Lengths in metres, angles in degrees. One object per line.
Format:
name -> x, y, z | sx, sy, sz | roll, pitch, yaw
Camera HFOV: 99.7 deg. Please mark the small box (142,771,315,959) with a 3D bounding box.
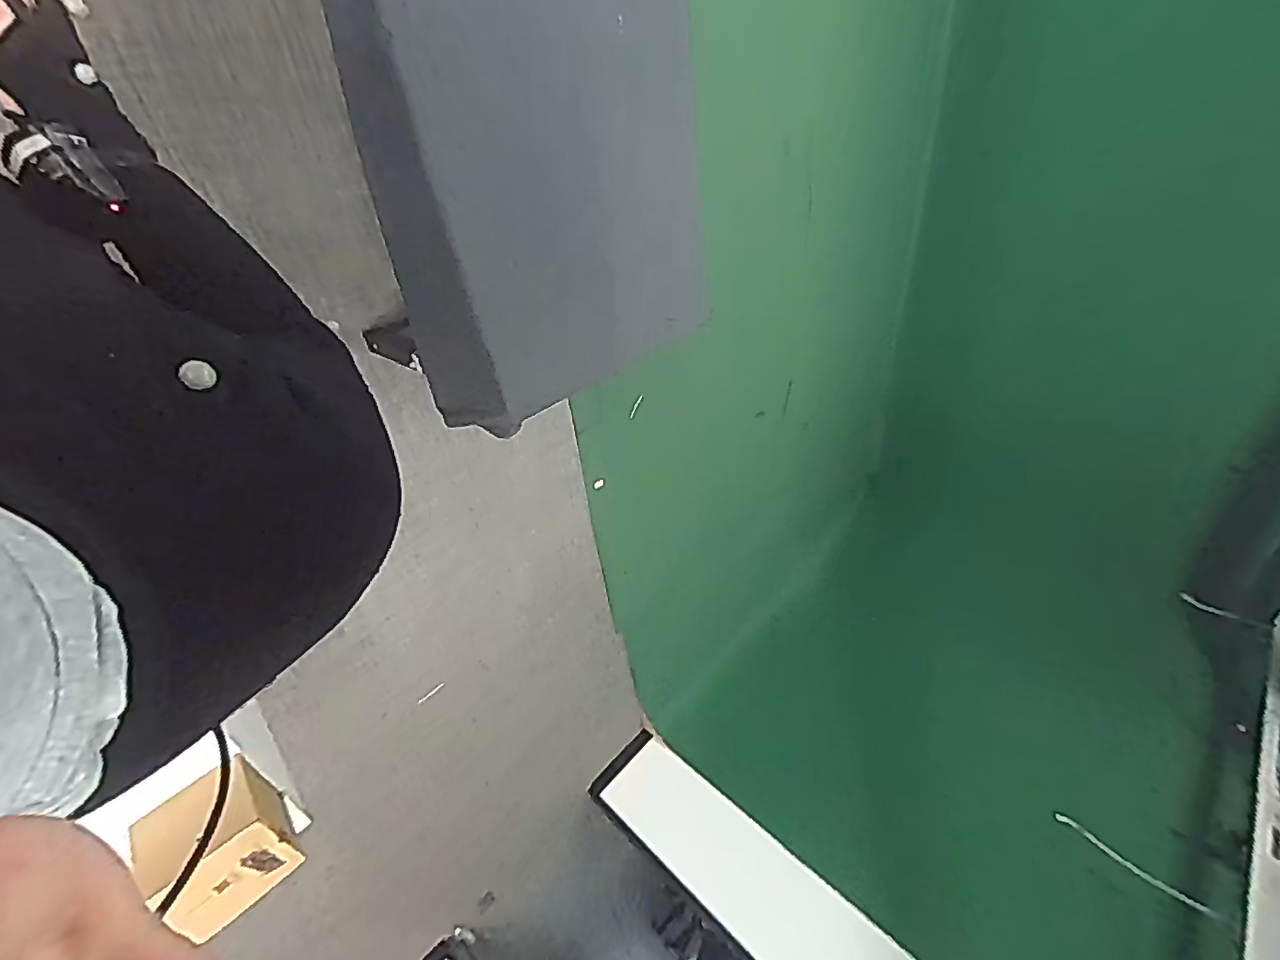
small box -> -0.713, 0.656, 0.940 | 0.179, 0.176, 0.168 | -34, 131, -30
